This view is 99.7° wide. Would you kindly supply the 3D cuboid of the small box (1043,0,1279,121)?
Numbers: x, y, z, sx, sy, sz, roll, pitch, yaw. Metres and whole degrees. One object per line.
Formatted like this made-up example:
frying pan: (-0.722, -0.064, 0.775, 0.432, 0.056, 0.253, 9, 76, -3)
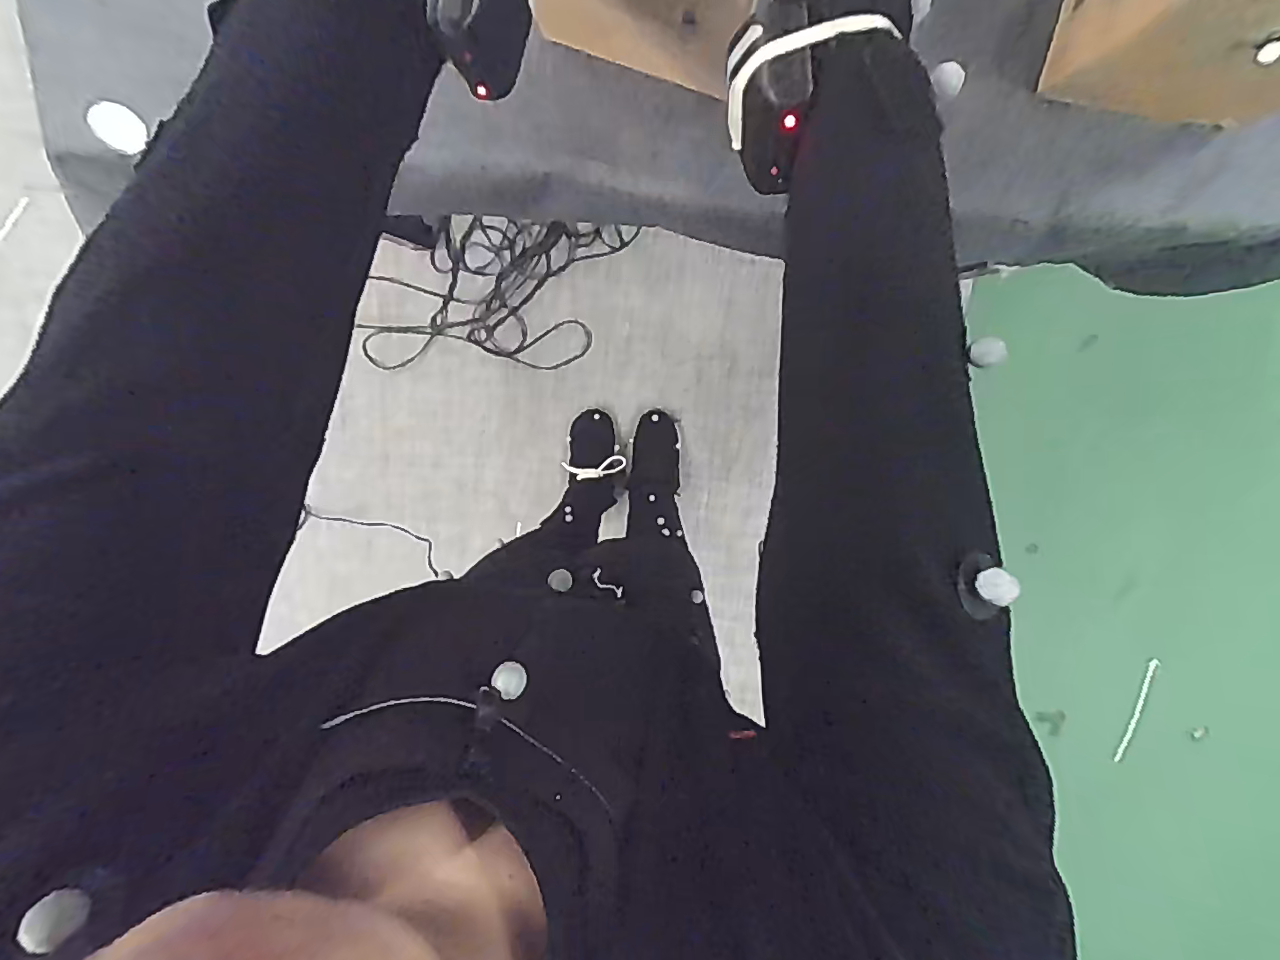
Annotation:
small box: (0.438, -0.381, 0.377, 0.179, 0.176, 0.168, 10, 106, 0)
